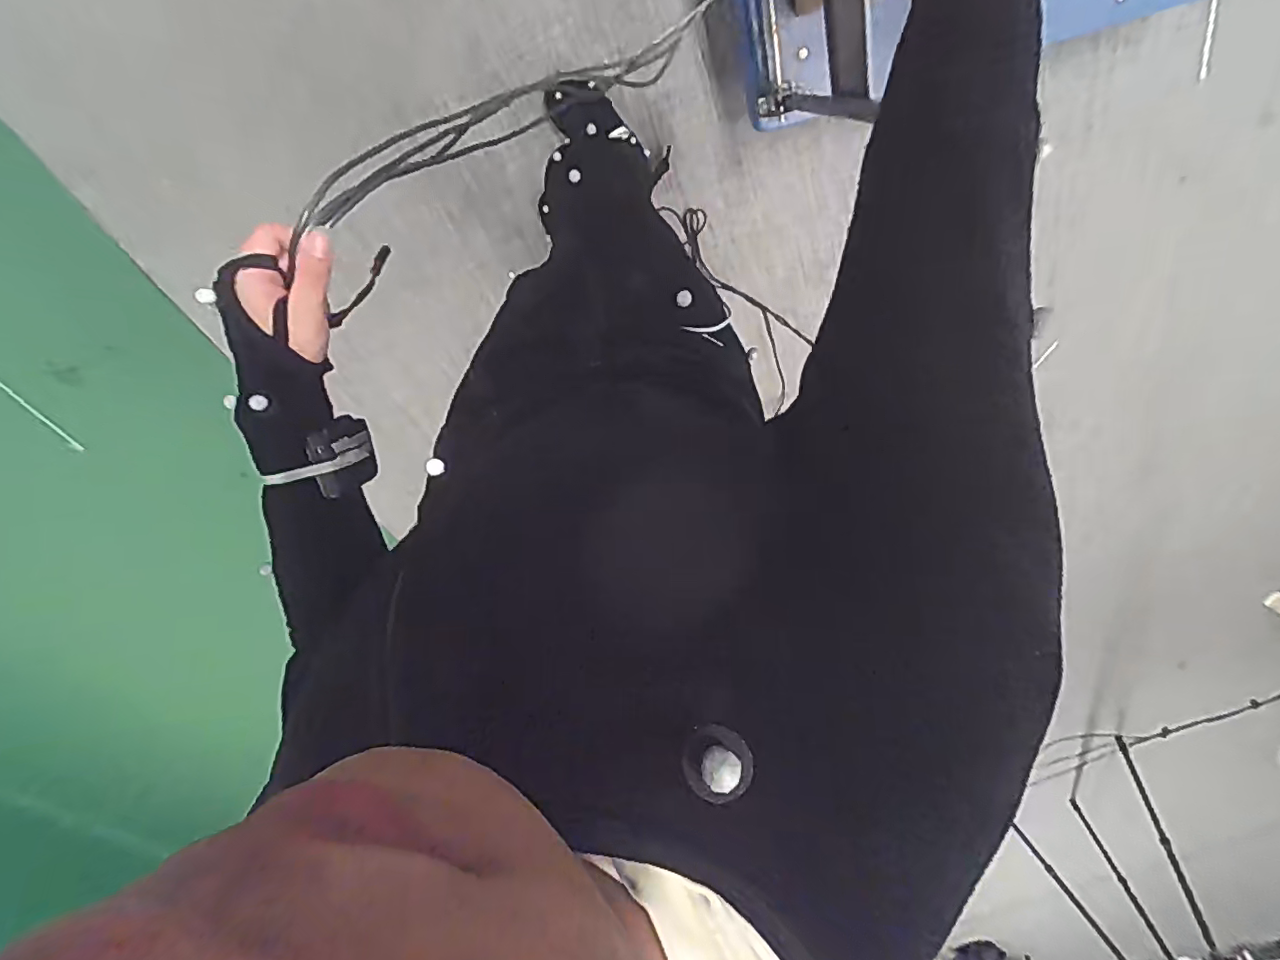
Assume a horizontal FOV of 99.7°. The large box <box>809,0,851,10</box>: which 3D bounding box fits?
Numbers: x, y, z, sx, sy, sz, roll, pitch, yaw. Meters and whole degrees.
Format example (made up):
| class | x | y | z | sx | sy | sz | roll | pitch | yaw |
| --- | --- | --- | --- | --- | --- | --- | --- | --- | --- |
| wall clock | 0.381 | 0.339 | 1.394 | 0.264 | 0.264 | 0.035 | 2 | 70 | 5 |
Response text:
| class | x | y | z | sx | sy | sz | roll | pitch | yaw |
| --- | --- | --- | --- | --- | --- | --- | --- | --- | --- |
| large box | 0.463 | -0.932 | 0.757 | 0.408 | 0.320 | 0.320 | -13 | 127 | 7 |
